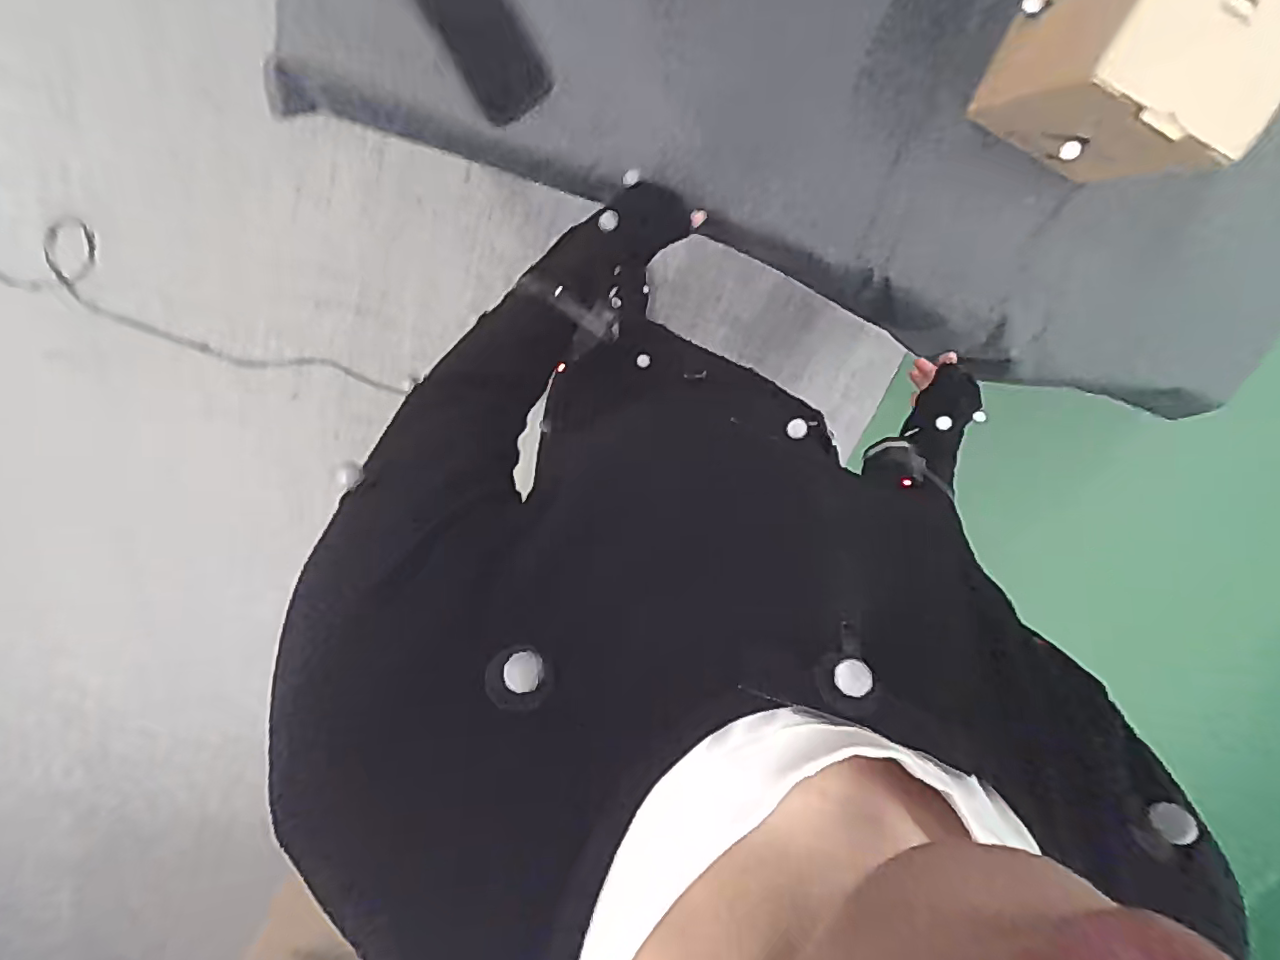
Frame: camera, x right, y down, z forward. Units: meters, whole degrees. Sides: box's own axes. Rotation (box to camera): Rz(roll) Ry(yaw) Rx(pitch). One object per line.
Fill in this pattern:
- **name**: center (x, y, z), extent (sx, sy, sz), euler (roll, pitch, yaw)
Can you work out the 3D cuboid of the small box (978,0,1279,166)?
- **small box**: center (0.454, -0.411, 0.491), extent (0.168, 0.176, 0.179), euler (18, 113, -13)
